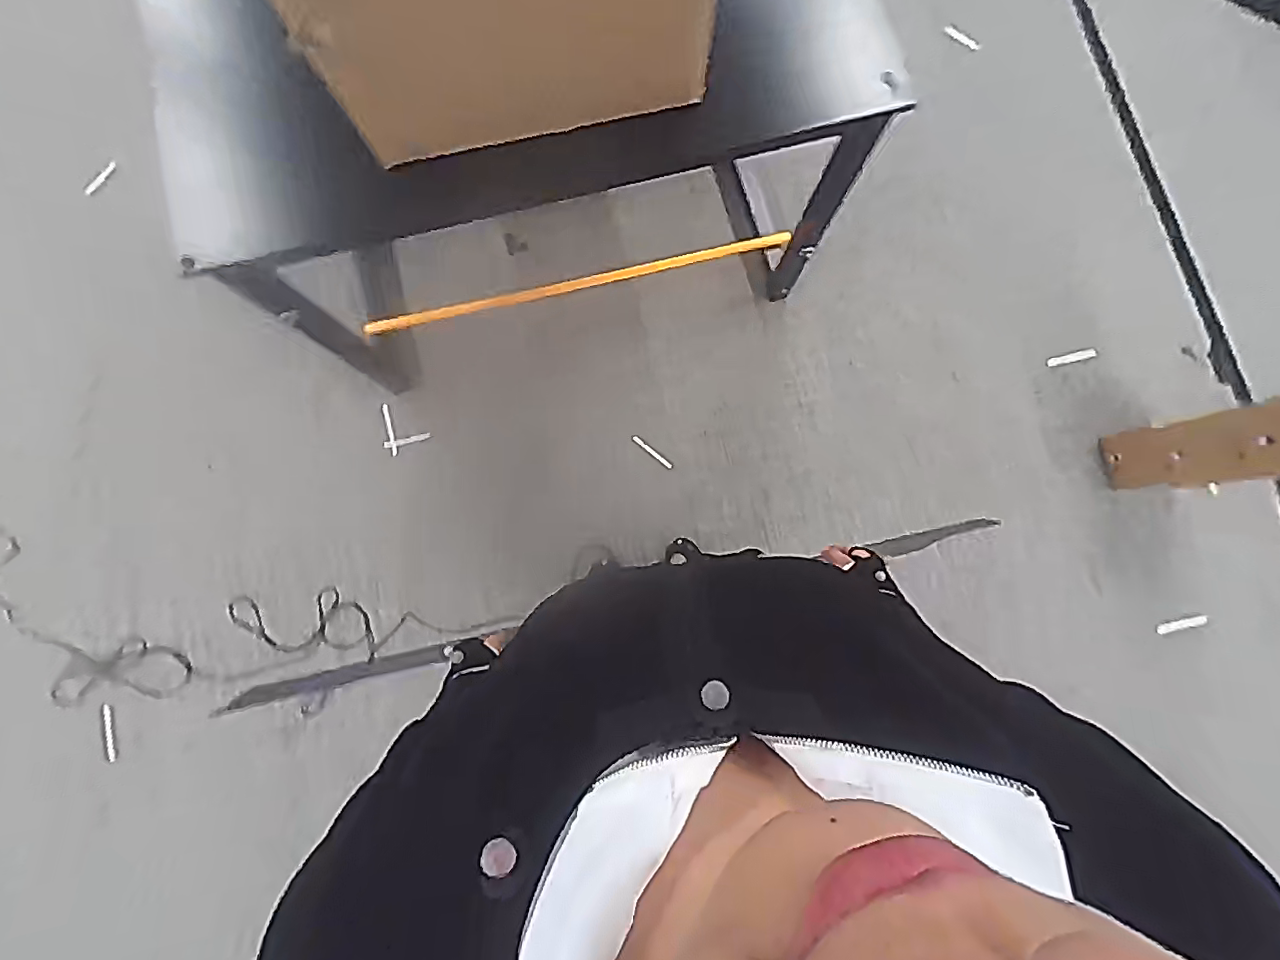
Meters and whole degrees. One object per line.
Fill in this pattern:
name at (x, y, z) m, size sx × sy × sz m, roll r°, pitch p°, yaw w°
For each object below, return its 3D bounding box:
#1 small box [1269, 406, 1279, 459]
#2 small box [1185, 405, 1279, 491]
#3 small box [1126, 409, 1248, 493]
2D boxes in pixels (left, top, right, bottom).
small box at (1.434, -0.099, 1.078) m, size 0.179 × 0.176 × 0.168 m, roll -14°, pitch 83°, yaw -2°
small box at (1.434, -0.079, 1.240) m, size 0.179 × 0.176 × 0.168 m, roll -14°, pitch 83°, yaw -2°
small box at (1.439, -0.069, 1.405) m, size 0.179 × 0.176 × 0.168 m, roll -15°, pitch 83°, yaw -1°
